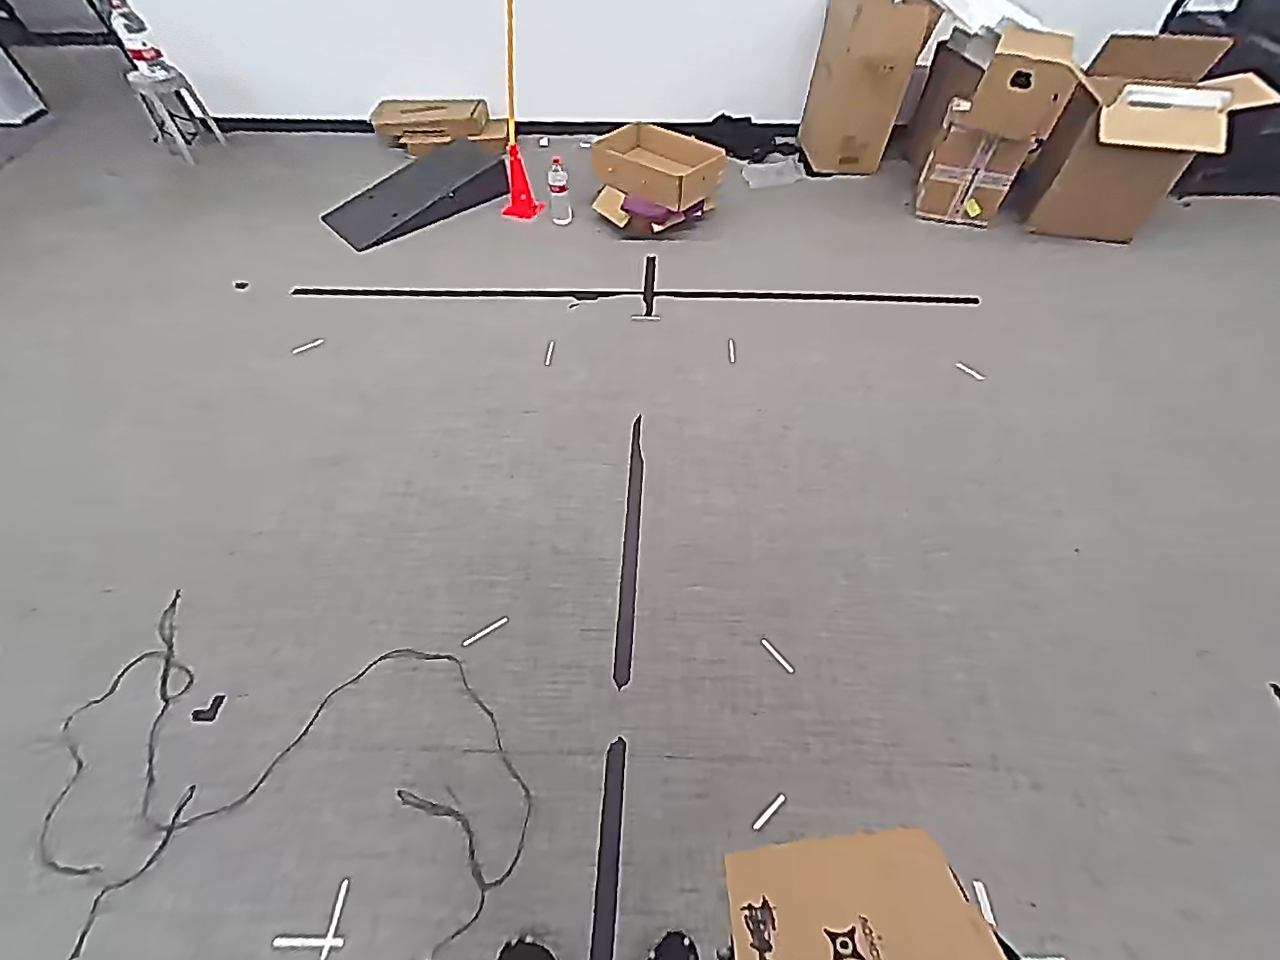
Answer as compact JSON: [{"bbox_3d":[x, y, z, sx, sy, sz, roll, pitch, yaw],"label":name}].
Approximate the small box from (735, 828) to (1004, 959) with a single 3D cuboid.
[{"bbox_3d":[0.178,0.408,0.410,0.179,0.176,0.168,-11,14,6],"label":"small box"}]
